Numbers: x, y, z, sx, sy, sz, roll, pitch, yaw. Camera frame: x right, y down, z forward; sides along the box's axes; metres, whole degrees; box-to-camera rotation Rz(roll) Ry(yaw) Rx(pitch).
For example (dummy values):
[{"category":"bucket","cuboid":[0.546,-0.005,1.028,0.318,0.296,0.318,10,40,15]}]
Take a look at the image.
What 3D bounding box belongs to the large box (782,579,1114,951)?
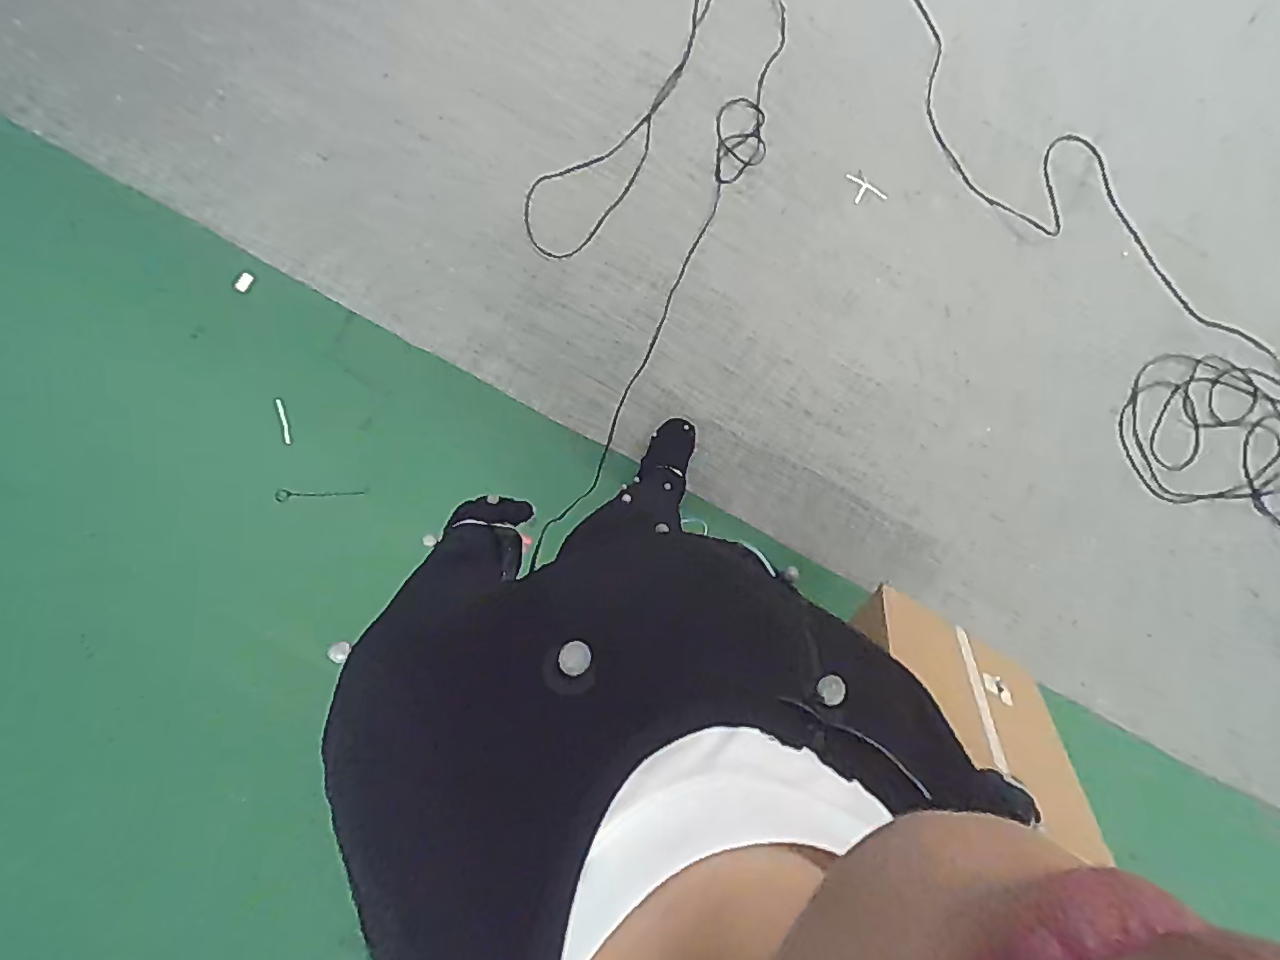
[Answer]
[{"category":"large box","cuboid":[0.469,0.459,0.934,0.320,0.408,0.320,32,119,5]}]
